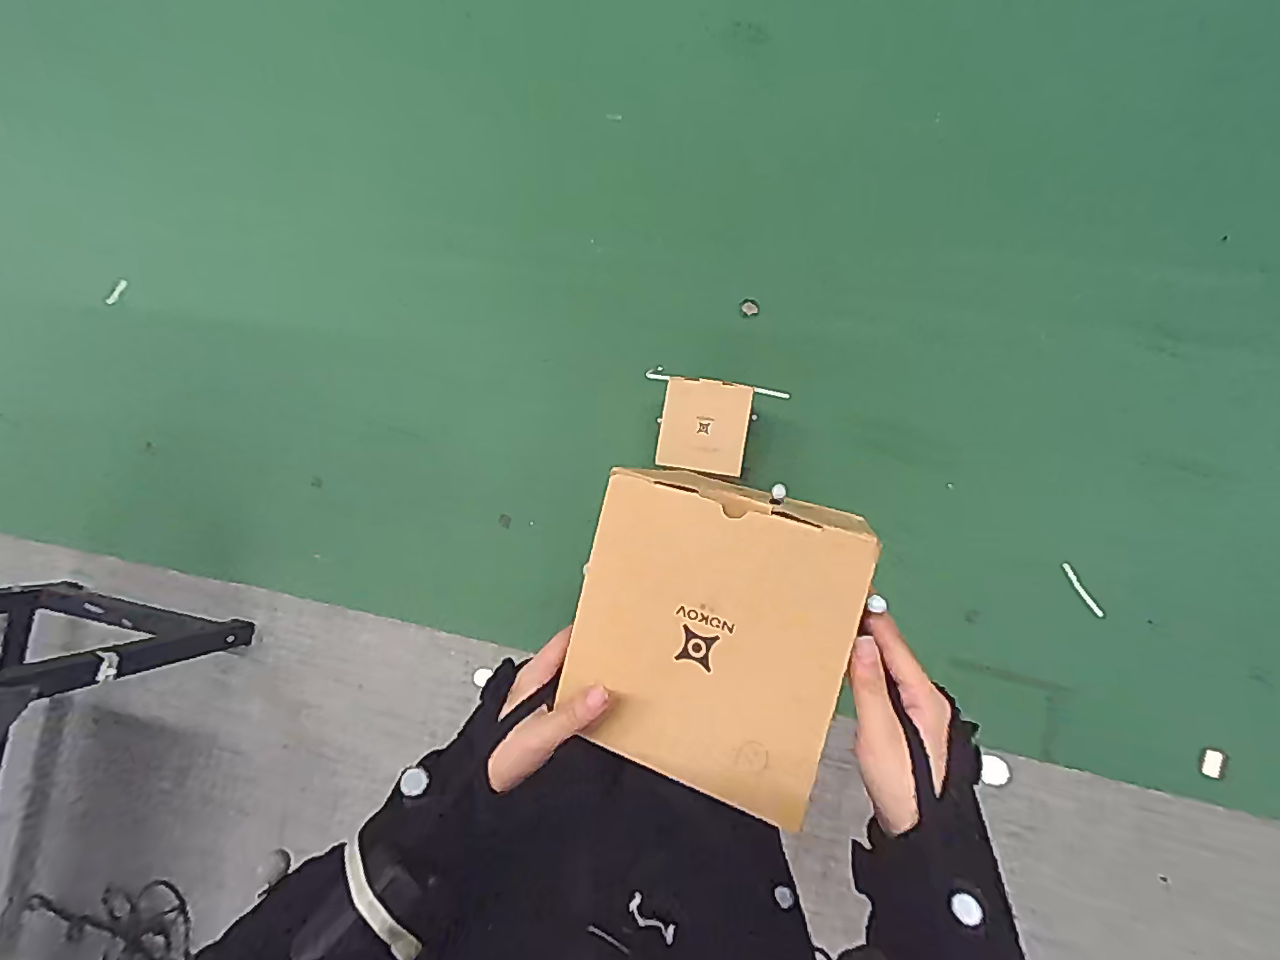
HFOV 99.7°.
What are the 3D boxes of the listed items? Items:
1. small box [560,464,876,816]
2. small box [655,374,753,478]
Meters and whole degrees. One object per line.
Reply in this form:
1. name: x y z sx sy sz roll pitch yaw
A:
1. small box: 0.065 0.092 0.406 0.168 0.176 0.179 15 95 19
2. small box: 0.132 -0.104 1.105 0.168 0.176 0.179 9 88 10
